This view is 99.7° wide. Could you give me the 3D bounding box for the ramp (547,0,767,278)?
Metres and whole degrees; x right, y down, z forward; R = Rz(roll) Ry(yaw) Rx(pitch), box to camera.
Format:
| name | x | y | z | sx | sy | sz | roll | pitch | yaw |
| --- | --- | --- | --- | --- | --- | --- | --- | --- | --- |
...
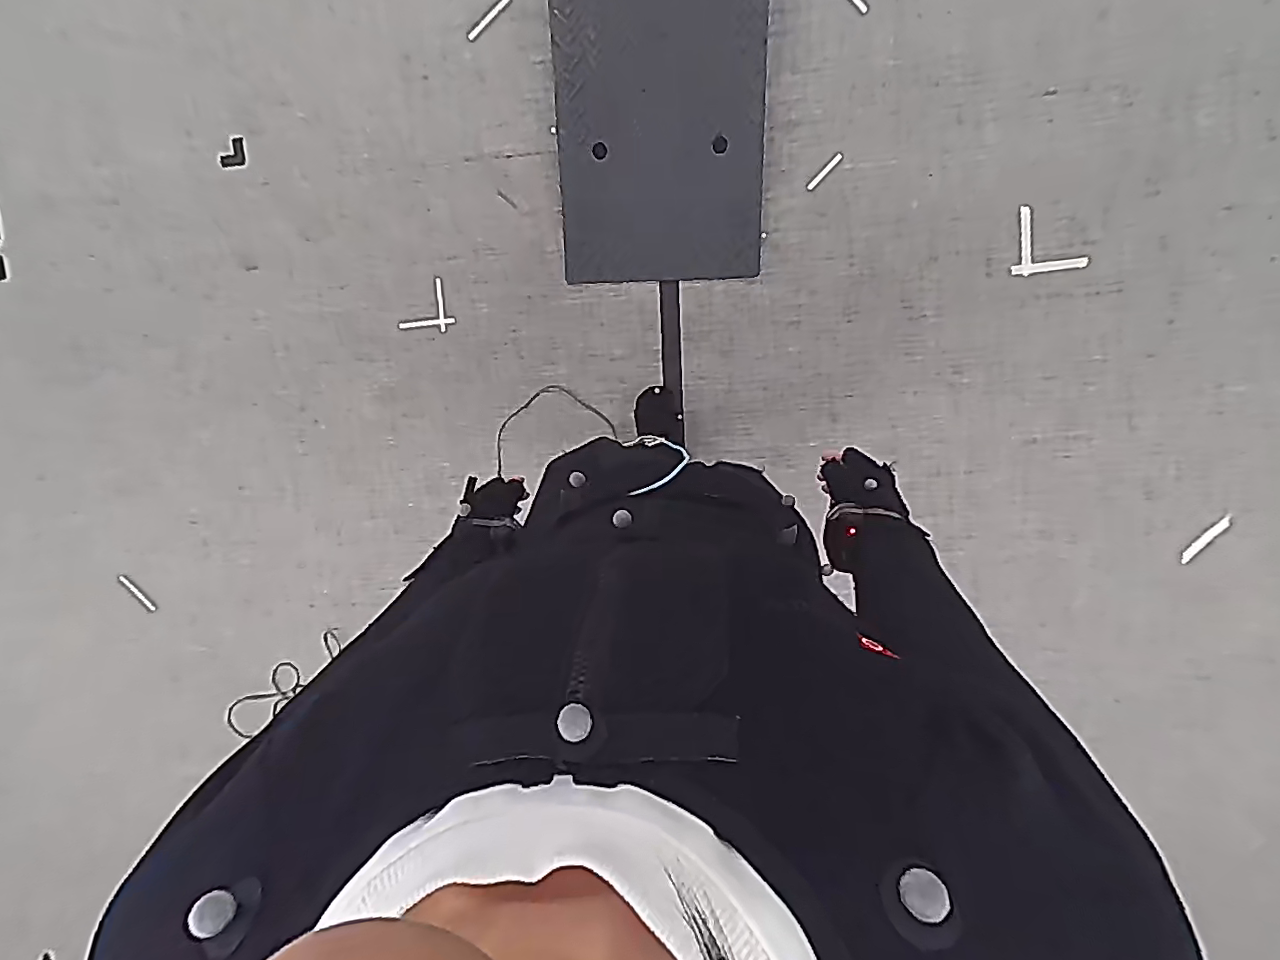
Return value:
| name | x | y | z | sx | sy | sz | roll | pitch | yaw |
| --- | --- | --- | --- | --- | --- | --- | --- | --- | --- |
| ramp | 0.039 | -0.994 | 1.217 | 0.509 | 0.206 | 0.991 | -2 | 98 | 4 |
